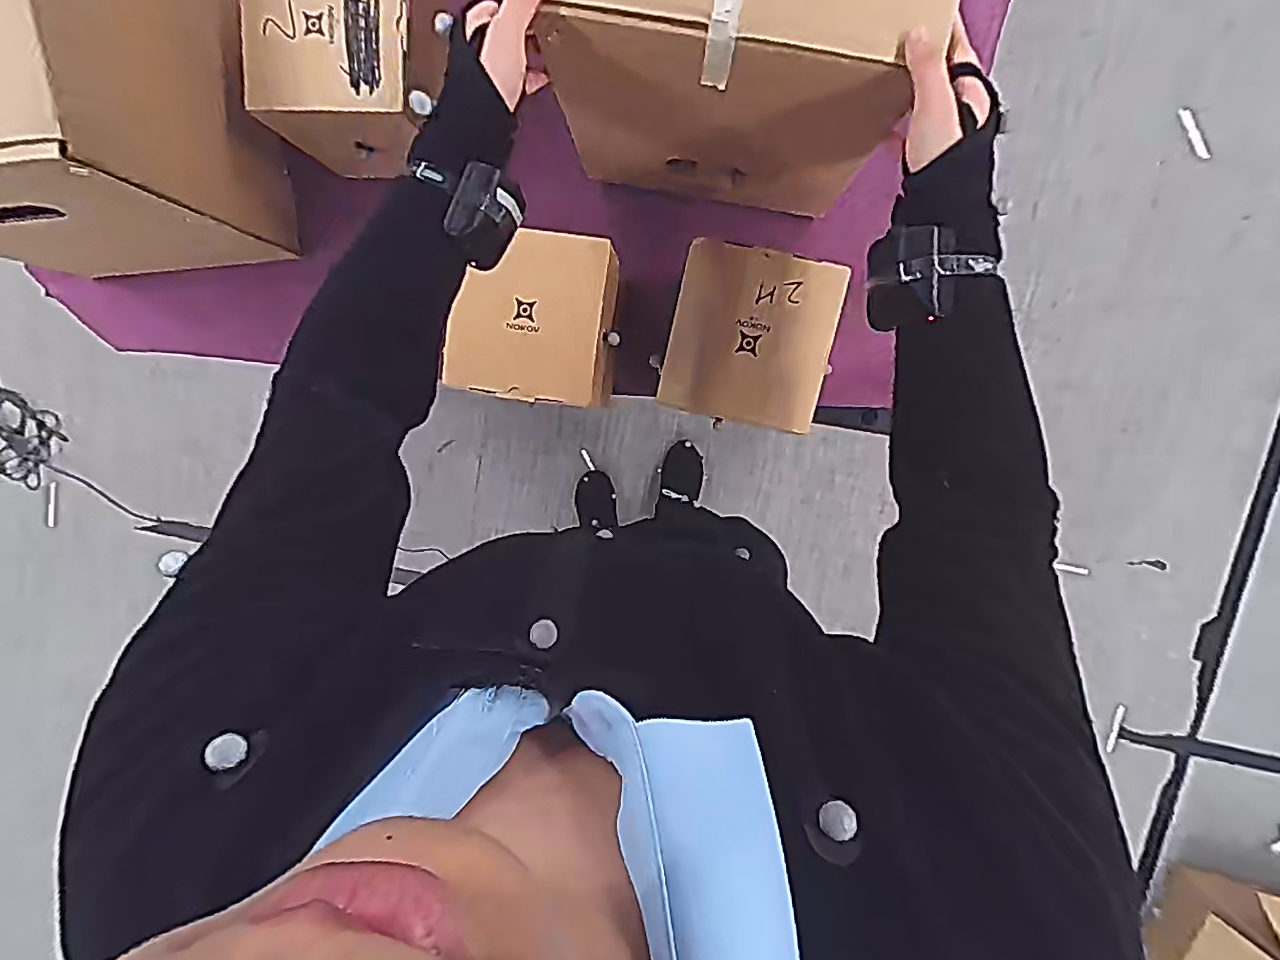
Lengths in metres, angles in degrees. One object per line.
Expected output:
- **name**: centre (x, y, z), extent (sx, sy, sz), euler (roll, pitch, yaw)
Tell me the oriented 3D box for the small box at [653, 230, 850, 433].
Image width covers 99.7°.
- **small box**: centre (0.118, -0.158, 0.629), extent (0.168, 0.176, 0.179), euler (13, 96, 2)
